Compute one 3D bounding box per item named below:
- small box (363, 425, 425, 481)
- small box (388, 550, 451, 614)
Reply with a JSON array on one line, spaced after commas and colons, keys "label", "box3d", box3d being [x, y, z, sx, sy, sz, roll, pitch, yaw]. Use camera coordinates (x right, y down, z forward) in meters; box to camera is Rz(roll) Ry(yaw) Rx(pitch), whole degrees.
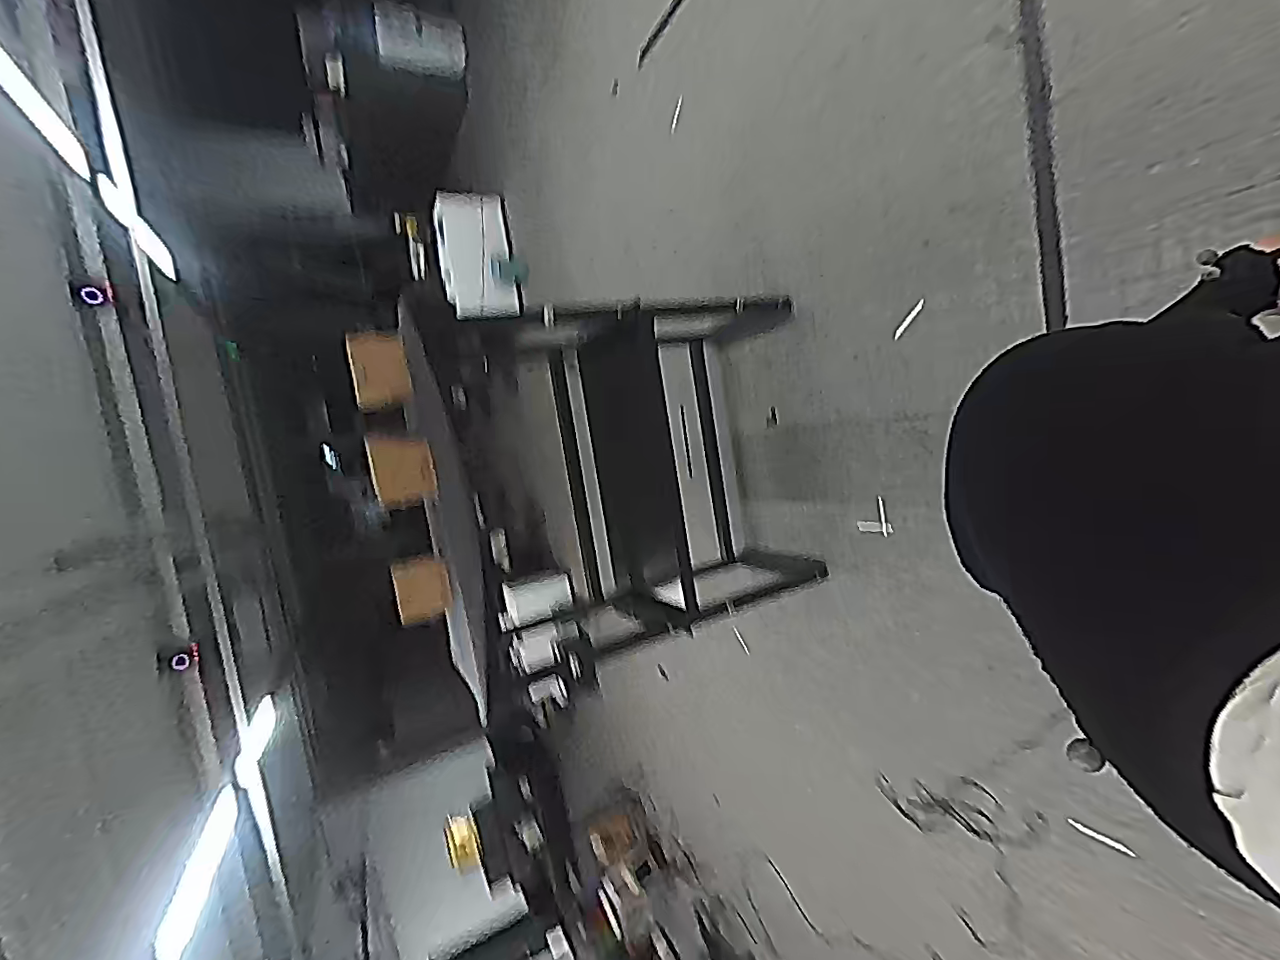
[{"label": "small box", "box3d": [-0.837, -0.093, 1.844, 0.179, 0.176, 0.168, 4, 104, 63]}, {"label": "small box", "box3d": [-0.765, 0.347, 1.881, 0.179, 0.176, 0.168, 2, 102, 63]}]
